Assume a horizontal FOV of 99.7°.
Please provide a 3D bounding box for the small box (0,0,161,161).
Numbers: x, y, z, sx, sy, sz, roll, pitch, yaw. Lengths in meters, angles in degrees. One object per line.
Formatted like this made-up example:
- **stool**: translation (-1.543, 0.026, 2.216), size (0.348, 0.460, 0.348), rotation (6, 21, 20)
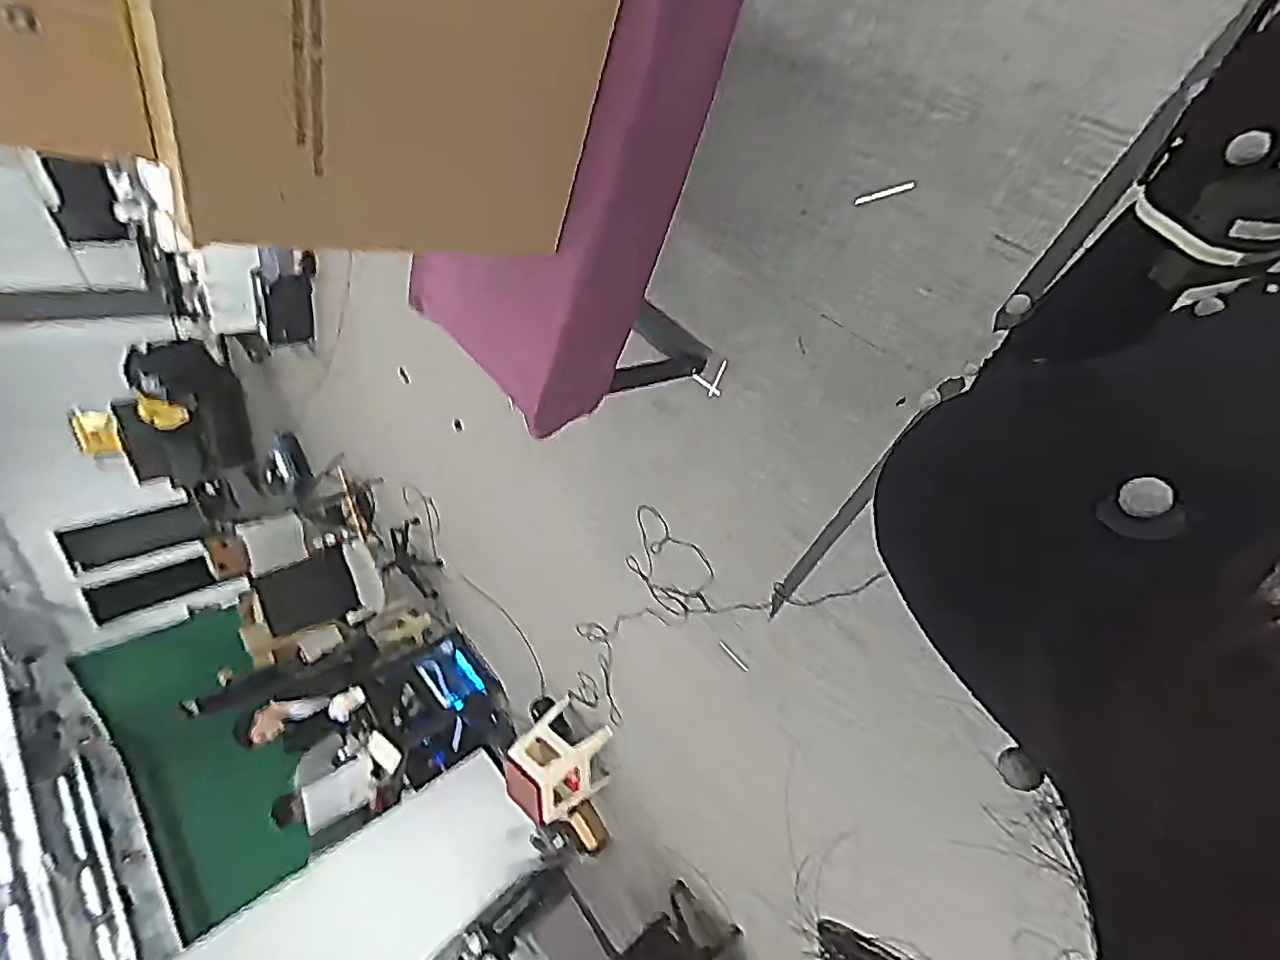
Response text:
- **small box**: translation (-0.702, -0.501, 0.629), size (0.168, 0.176, 0.179), rotation (42, 132, 26)
